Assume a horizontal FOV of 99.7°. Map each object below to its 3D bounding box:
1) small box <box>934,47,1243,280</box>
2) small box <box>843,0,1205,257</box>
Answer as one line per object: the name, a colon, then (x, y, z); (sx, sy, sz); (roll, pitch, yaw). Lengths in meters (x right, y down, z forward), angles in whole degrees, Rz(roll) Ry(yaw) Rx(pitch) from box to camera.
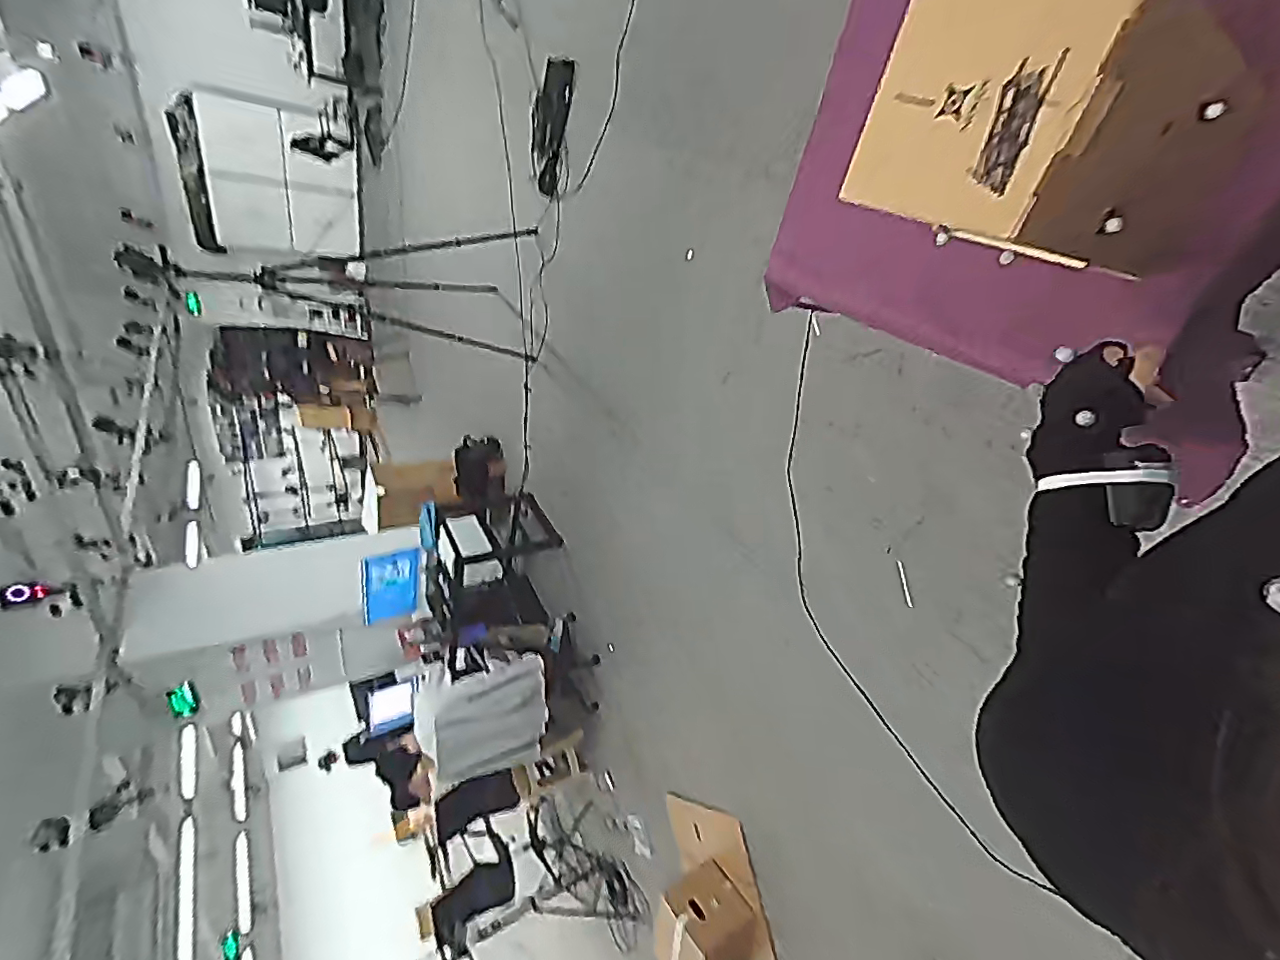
small box: (0.463, -0.323, 0.567); (0.168, 0.176, 0.179); (46, 132, 42)
small box: (0.326, -0.305, 0.477); (0.179, 0.176, 0.168); (47, 133, 43)
